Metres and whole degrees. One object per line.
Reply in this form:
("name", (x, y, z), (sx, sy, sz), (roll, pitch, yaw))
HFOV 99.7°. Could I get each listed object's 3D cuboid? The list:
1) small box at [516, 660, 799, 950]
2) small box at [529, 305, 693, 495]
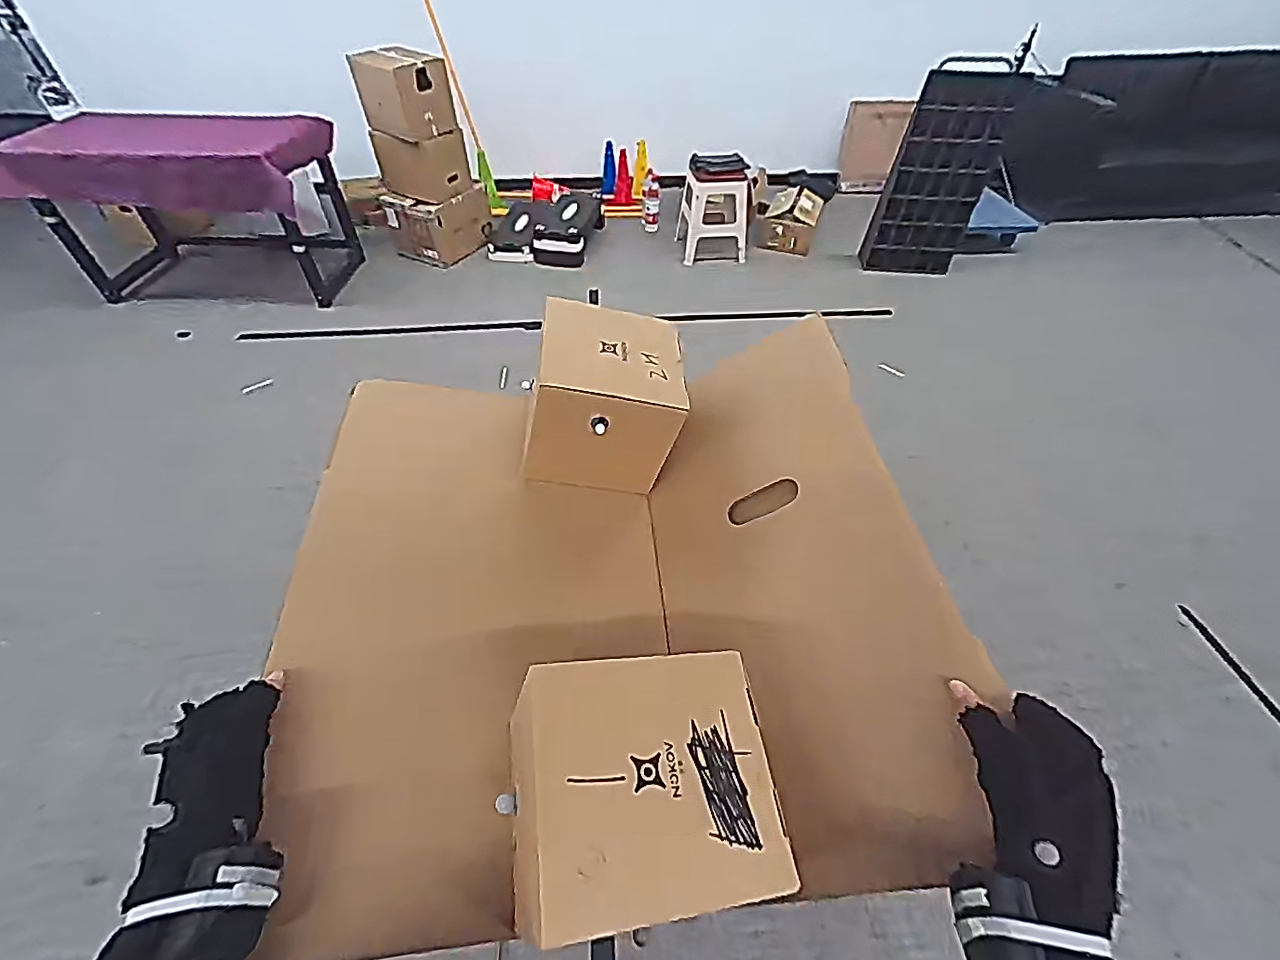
("small box", (-0.005, 0.259, 0.446), (0.179, 0.176, 0.168), (2, 53, -17))
("small box", (-0.046, -0.097, 0.712), (0.179, 0.176, 0.168), (9, 51, -14))
